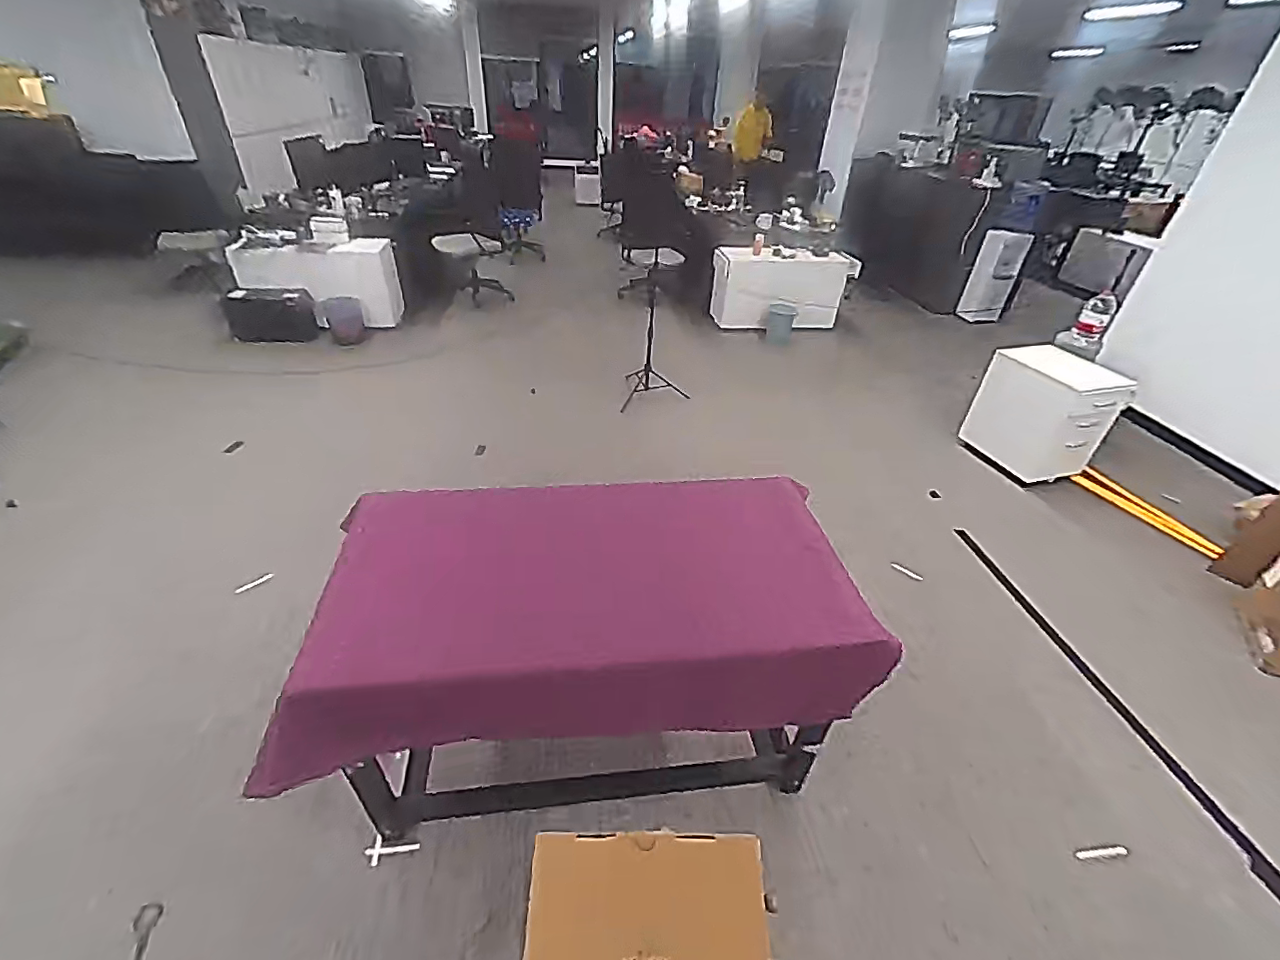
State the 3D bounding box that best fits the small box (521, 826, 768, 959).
[{"bbox_3d":[0.007,0.374,0.410,0.168,0.176,0.179,-1,52,3],"label":"small box"}]
